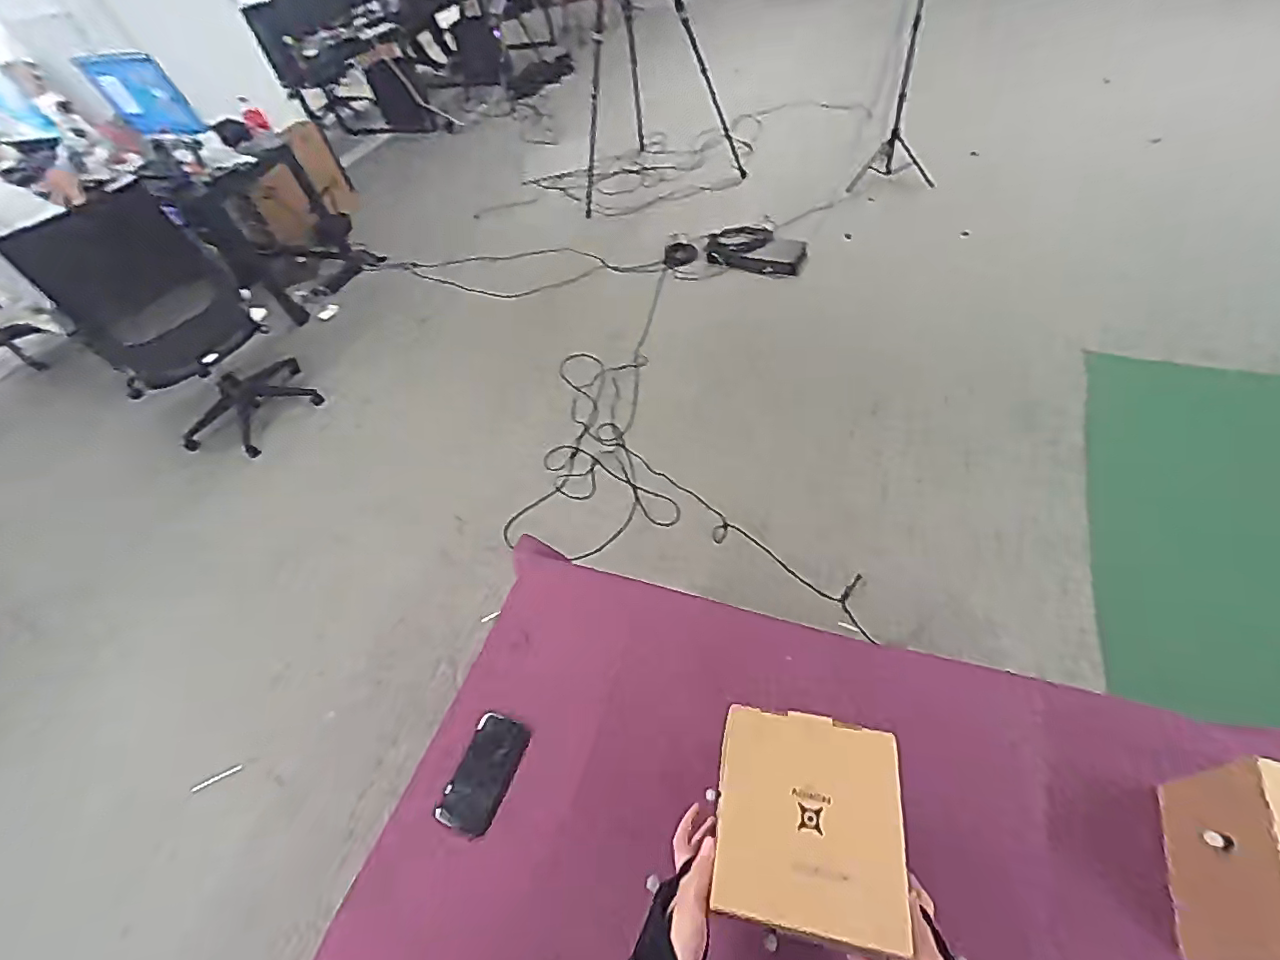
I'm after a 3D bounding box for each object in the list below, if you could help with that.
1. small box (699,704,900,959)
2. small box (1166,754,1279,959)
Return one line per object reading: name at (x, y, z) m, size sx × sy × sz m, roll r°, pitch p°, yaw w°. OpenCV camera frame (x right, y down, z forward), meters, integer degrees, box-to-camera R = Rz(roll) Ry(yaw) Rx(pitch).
small box at (0.152, 0.359, 0.558) m, size 0.168 × 0.176 × 0.179 m, roll 6°, pitch 51°, yaw 11°
small box at (0.652, 0.396, 0.512) m, size 0.168 × 0.176 × 0.179 m, roll 12°, pitch 55°, yaw 21°
